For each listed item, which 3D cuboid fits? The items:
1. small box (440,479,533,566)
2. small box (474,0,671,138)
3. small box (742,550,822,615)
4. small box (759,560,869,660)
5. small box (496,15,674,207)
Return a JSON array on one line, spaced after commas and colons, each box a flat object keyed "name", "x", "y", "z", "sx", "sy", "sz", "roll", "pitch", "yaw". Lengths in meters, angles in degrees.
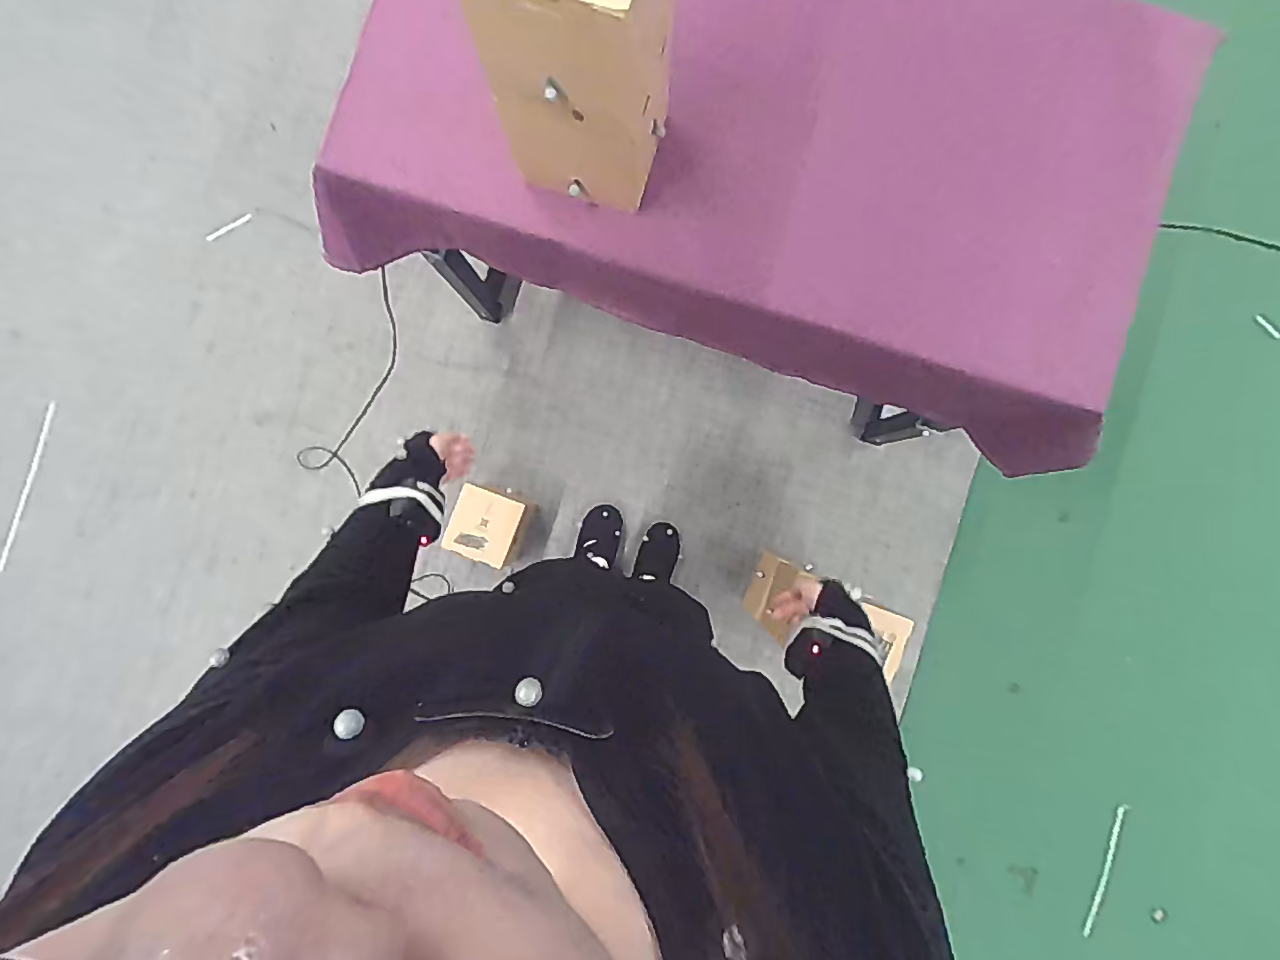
[{"name": "small box", "x": -0.396, "y": 0.108, "z": 1.431, "sx": 0.168, "sy": 0.176, "sz": 0.179, "roll": 21, "pitch": 88, "yaw": -1}, {"name": "small box", "x": -0.063, "y": -0.502, "z": 0.550, "sx": 0.168, "sy": 0.176, "sz": 0.179, "roll": 18, "pitch": 89, "yaw": 0}, {"name": "small box", "x": 0.389, "y": 0.294, "z": 1.436, "sx": 0.179, "sy": 0.176, "sz": 0.168, "roll": 22, "pitch": 89, "yaw": -1}, {"name": "small box", "x": 0.398, "y": 0.296, "z": 1.274, "sx": 0.179, "sy": 0.176, "sz": 0.168, "roll": 19, "pitch": 90, "yaw": -1}, {"name": "small box", "x": -0.066, "y": -0.494, "z": 0.715, "sx": 0.179, "sy": 0.176, "sz": 0.168, "roll": 16, "pitch": 88, "yaw": -1}]
